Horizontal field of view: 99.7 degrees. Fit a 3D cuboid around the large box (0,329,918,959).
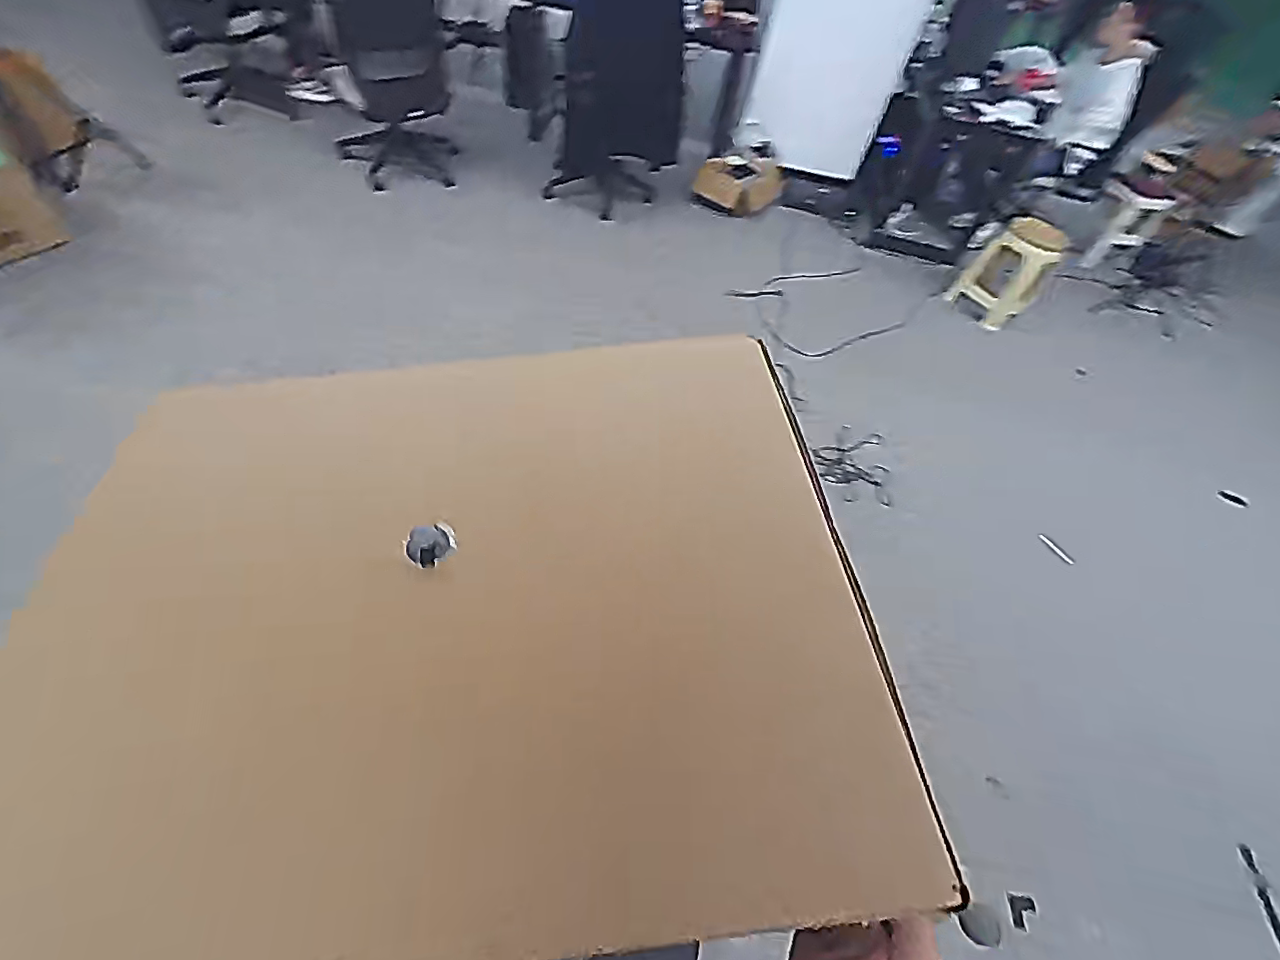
[{"bbox_3d":[-0.106,0.127,0.392,0.408,0.320,0.320,-7,55,-1],"label":"large box"}]
